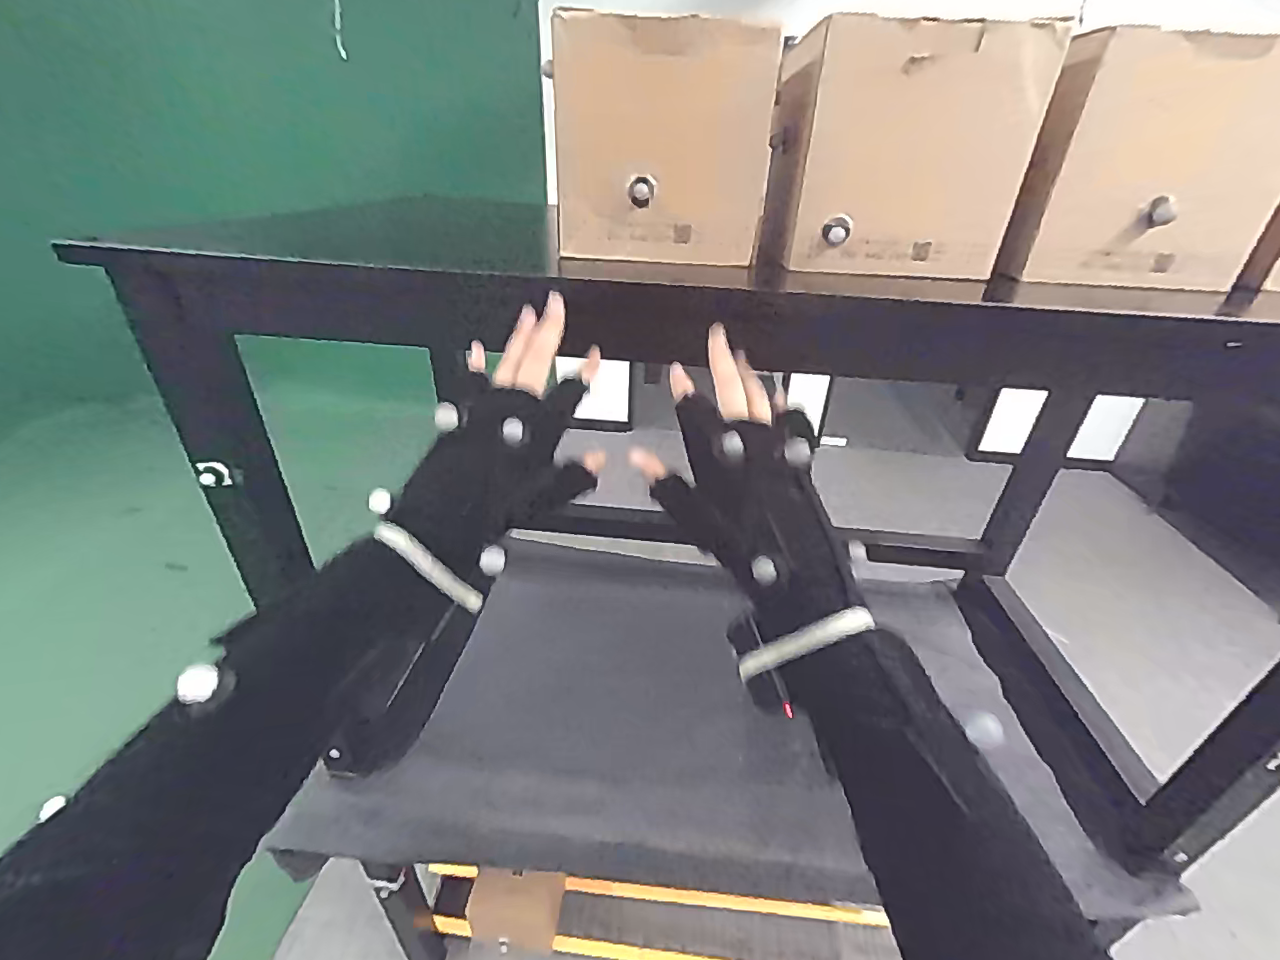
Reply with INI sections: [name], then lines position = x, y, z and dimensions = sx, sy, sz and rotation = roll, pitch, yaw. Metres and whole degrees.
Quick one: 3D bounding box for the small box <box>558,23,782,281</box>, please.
[small box]
position = 0.021, -0.292, 0.499
dimensions = 0.168, 0.176, 0.179
rotation = 3, 32, 1
